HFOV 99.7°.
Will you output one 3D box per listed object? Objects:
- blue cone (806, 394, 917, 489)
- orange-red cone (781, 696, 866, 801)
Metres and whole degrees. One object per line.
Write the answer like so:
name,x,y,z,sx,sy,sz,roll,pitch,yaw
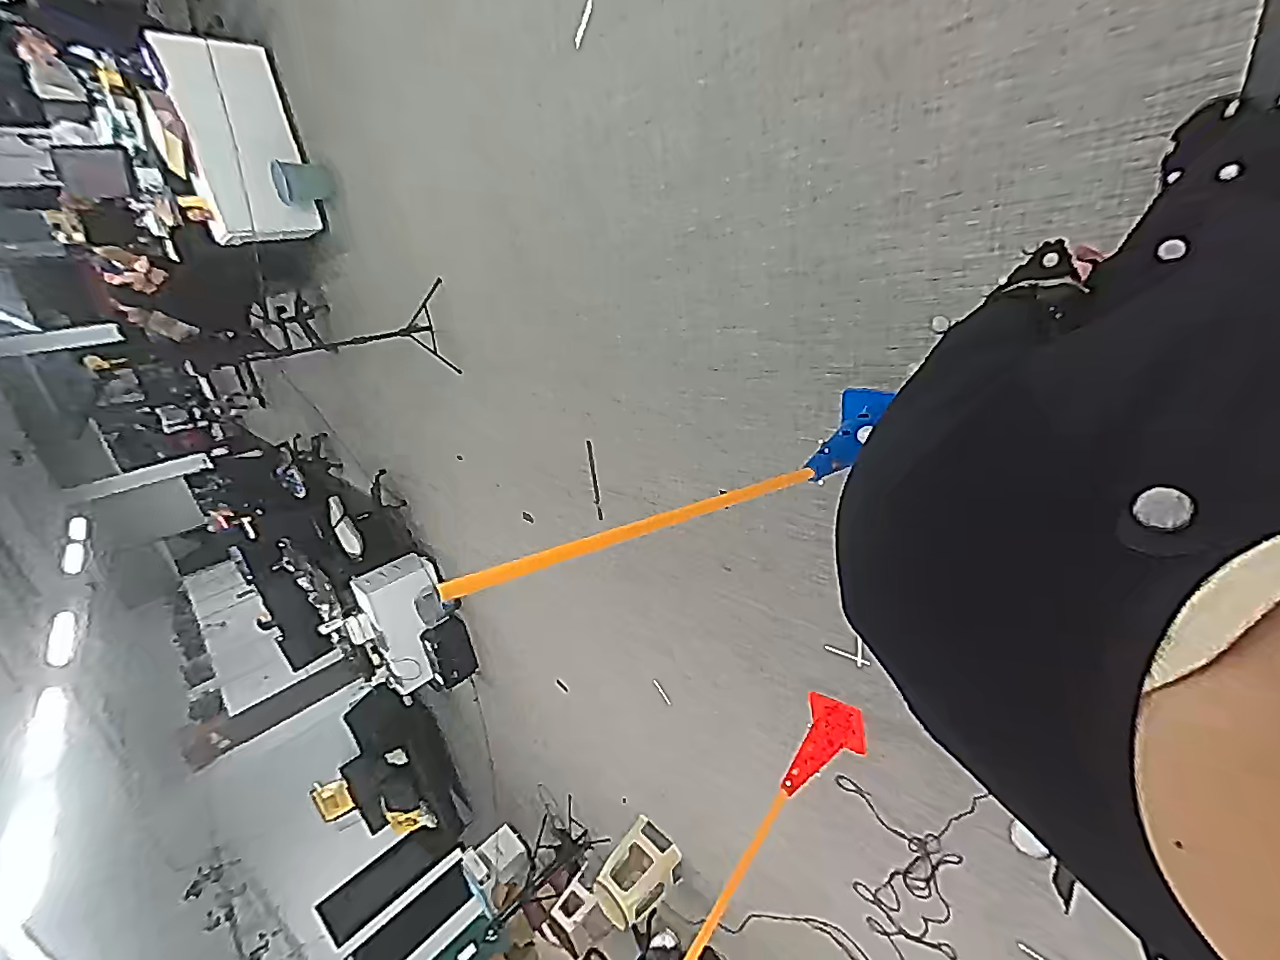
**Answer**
blue cone,0.518,-0.072,1.331,0.193,0.380,0.192,17,124,43
orange-red cone,0.581,0.930,1.806,0.199,0.360,0.198,7,116,46
